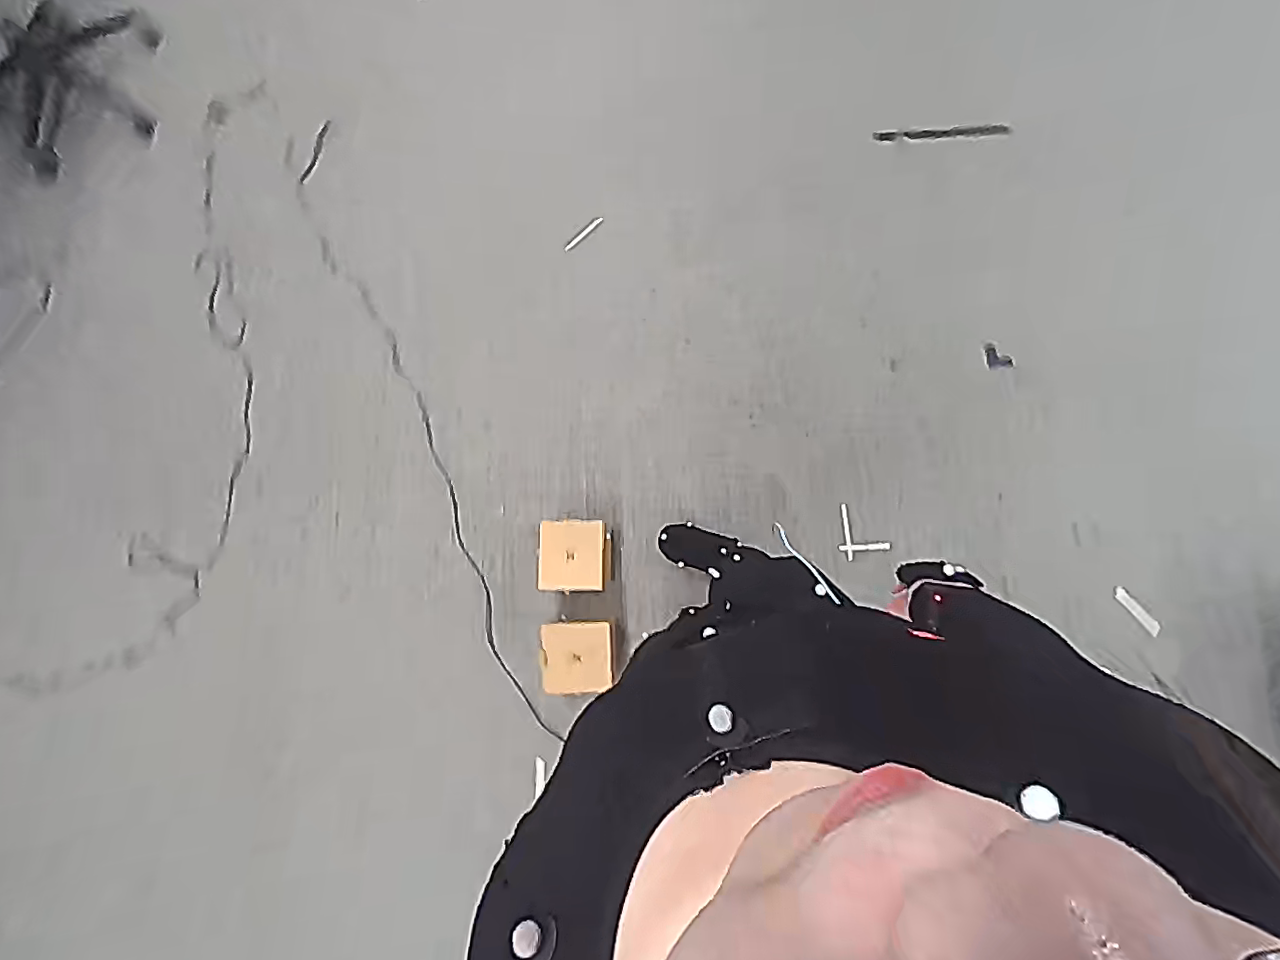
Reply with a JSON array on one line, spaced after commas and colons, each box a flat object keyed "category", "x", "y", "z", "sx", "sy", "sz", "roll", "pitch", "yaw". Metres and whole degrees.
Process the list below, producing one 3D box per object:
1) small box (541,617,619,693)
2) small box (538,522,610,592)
[{"category": "small box", "x": -0.152, "y": 0.453, "z": 1.410, "sx": 0.179, "sy": 0.176, "sz": 0.168, "roll": -3, "pitch": 82, "yaw": 3}, {"category": "small box", "x": -0.170, "y": 0.207, "z": 1.452, "sx": 0.168, "sy": 0.176, "sz": 0.179, "roll": -1, "pitch": 80, "yaw": 4}]
